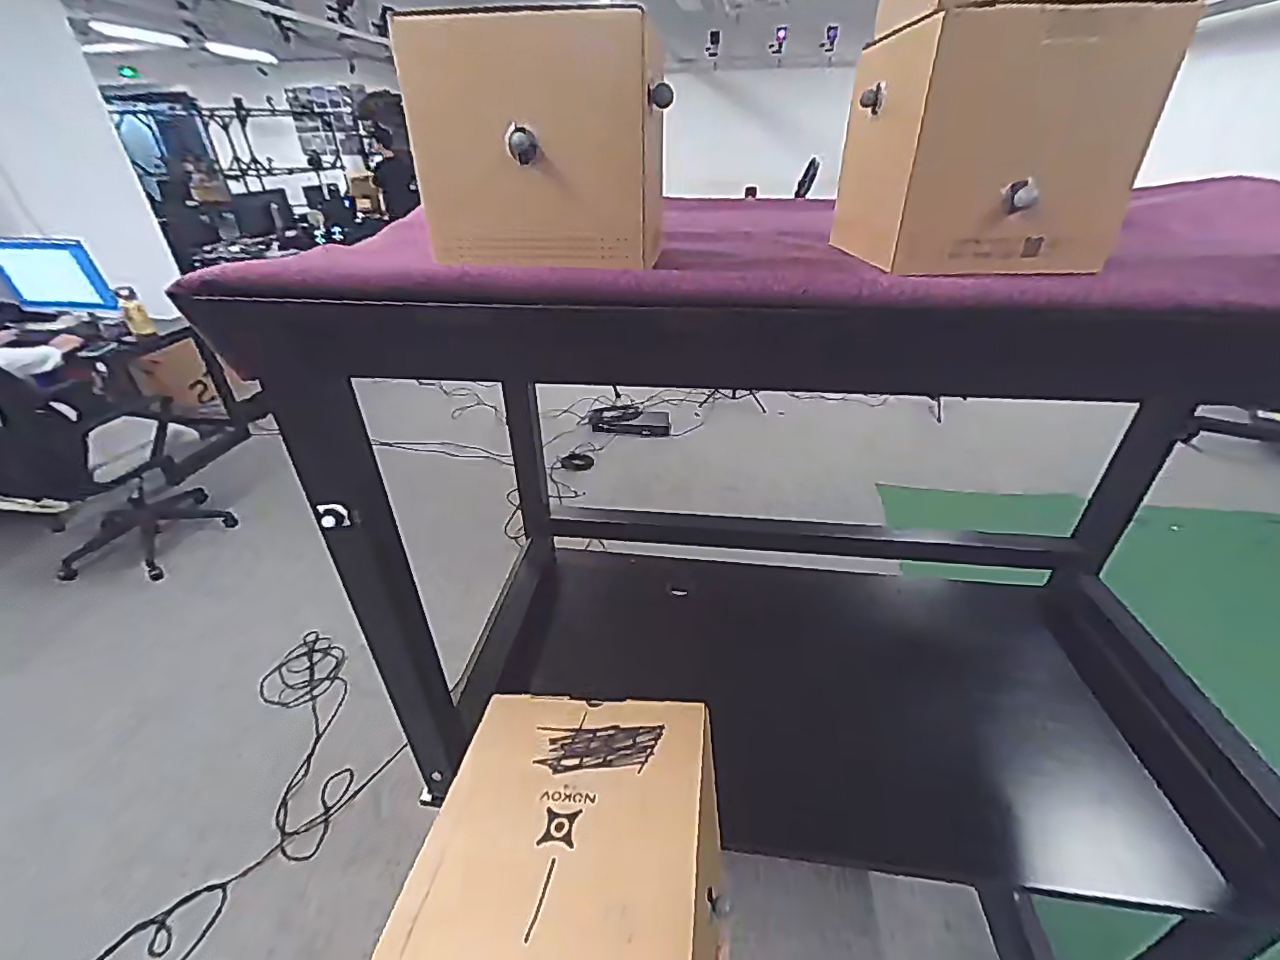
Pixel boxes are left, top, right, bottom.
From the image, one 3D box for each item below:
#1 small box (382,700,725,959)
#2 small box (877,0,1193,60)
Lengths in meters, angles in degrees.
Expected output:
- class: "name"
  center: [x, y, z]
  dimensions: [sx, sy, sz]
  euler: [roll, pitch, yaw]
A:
- class: "small box"
  center: [-0.031, 0.280, 0.365]
  dimensions: [0.168, 0.176, 0.179]
  euler: [-2, 27, 11]
- class: "small box"
  center: [0.285, -0.414, 0.378]
  dimensions: [0.168, 0.176, 0.179]
  euler: [3, 32, 5]
